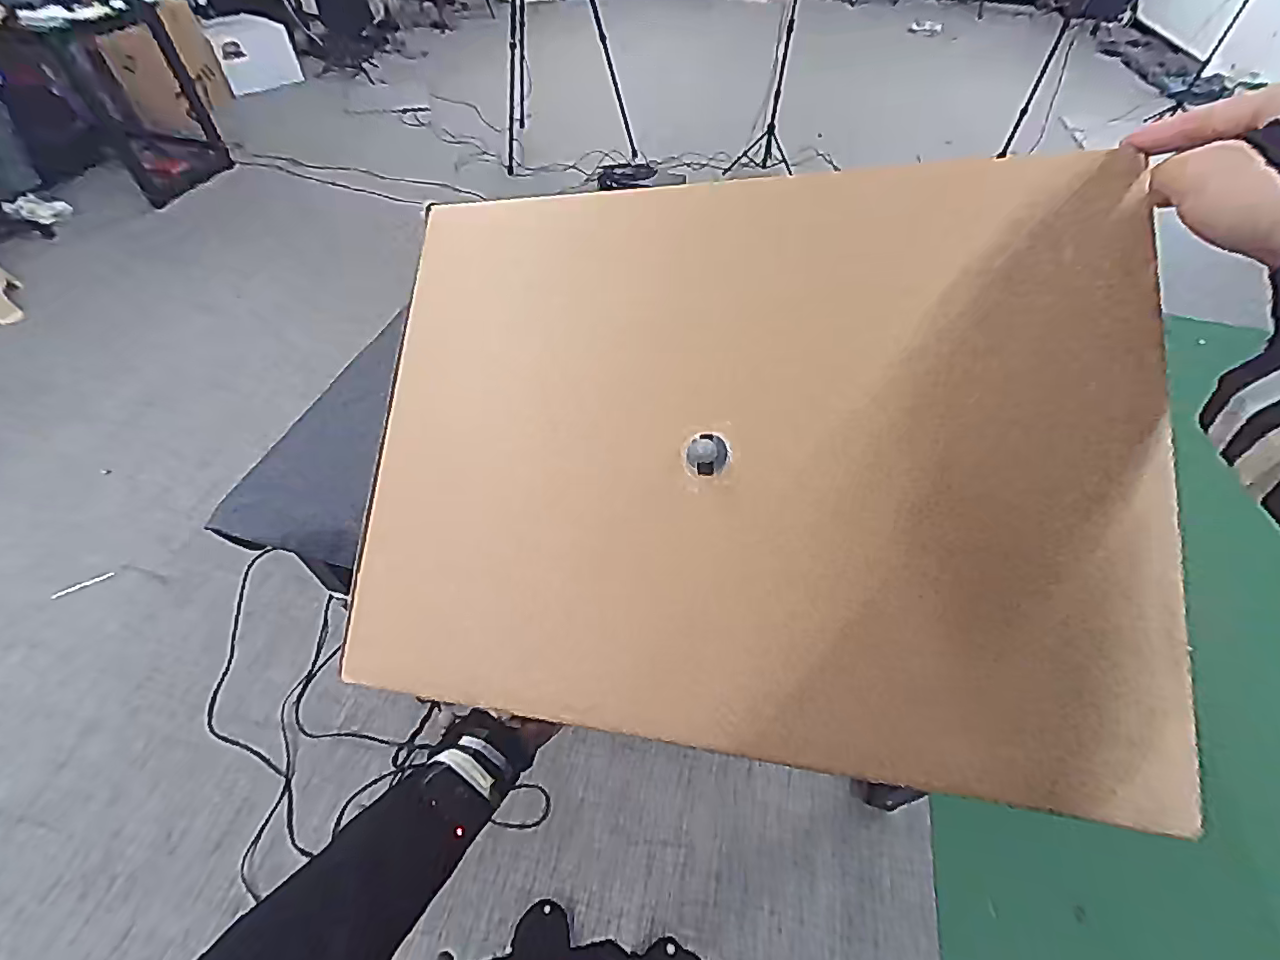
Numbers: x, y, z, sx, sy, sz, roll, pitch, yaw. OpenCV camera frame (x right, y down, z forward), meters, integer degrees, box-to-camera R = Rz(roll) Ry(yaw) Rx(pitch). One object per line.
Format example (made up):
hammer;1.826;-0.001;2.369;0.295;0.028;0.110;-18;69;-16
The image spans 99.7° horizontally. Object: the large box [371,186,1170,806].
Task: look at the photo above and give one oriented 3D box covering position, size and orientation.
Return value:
large box;0.075;0.017;0.437;0.408;0.320;0.320;2;79;13
